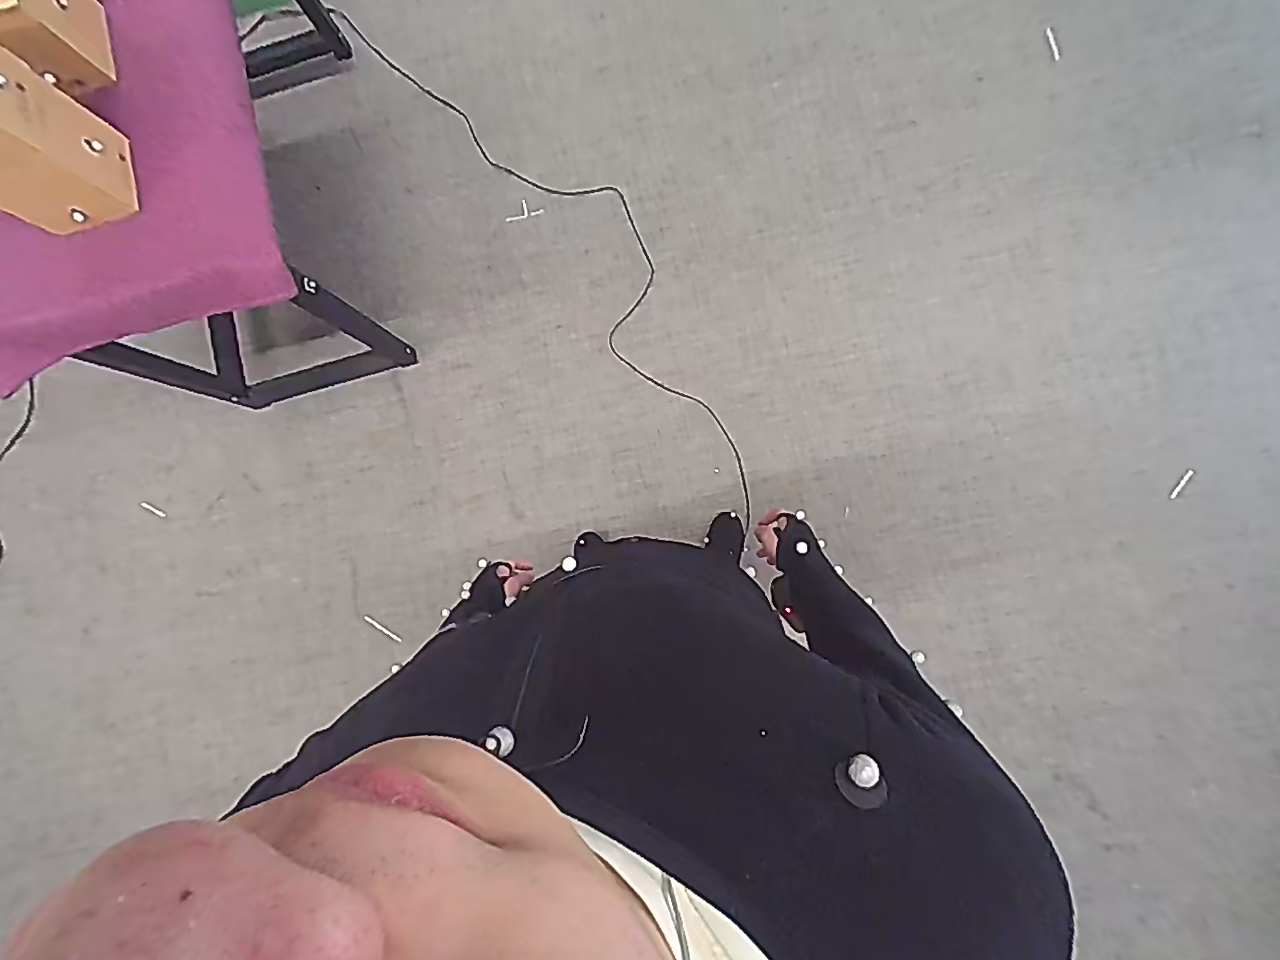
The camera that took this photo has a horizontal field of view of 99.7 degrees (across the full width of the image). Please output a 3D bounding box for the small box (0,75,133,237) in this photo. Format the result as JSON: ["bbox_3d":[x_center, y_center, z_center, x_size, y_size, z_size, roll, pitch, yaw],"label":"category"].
[{"bbox_3d":[-1.080,-0.578,0.986,0.179,0.176,0.168,-15,83,2],"label":"small box"}]

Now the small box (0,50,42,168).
[{"bbox_3d":[-1.091,-0.596,0.823,0.179,0.176,0.168,-16,84,2],"label":"small box"}]

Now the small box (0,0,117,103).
[{"bbox_3d":[-1.151,-0.859,1.018,0.168,0.176,0.179,-15,85,3],"label":"small box"}]
